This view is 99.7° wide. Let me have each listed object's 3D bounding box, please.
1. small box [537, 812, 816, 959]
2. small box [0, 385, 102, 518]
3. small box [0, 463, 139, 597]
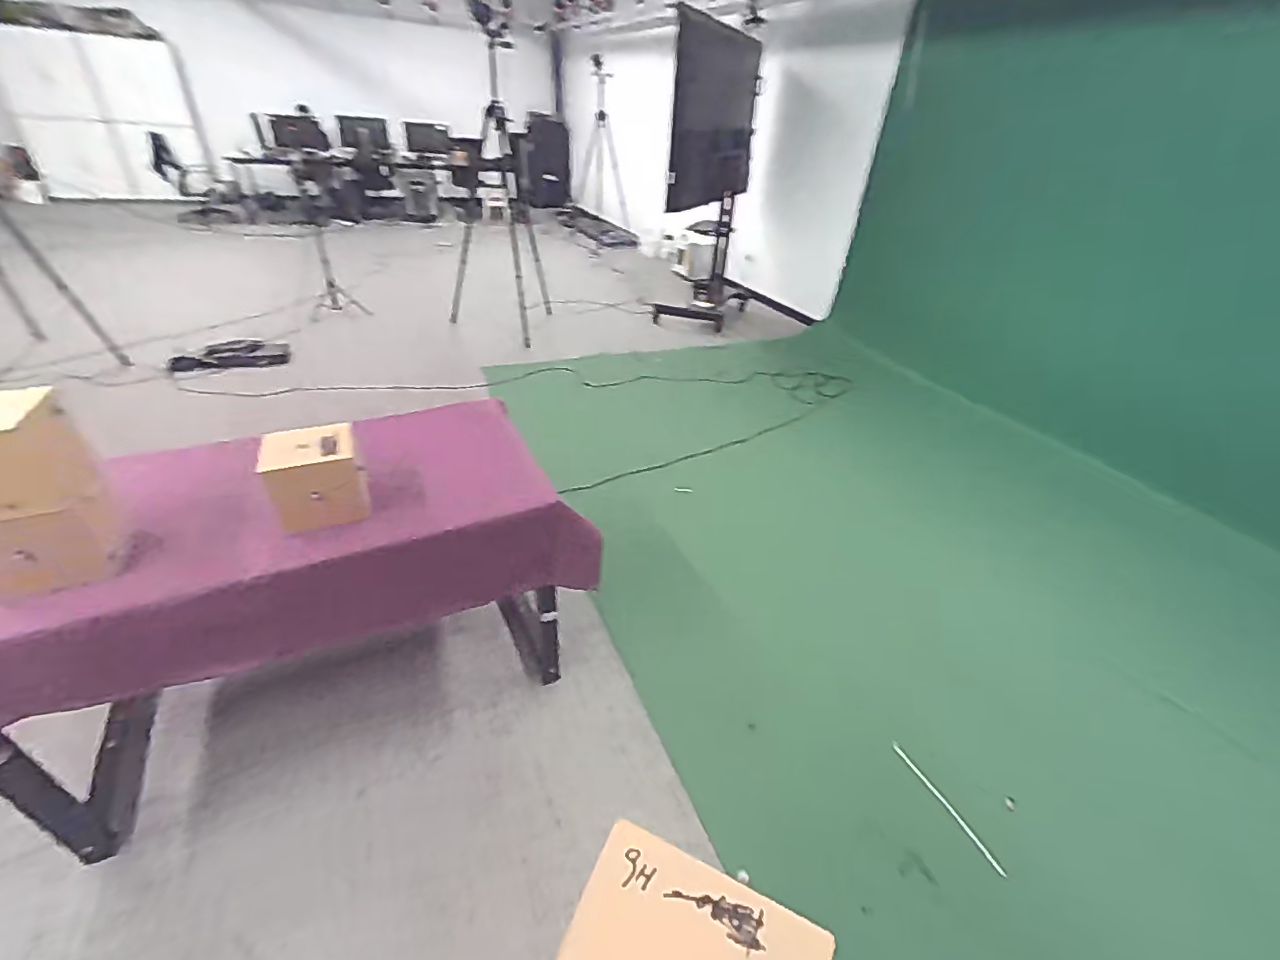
[{"bbox_3d":[0.007,0.389,0.385,0.168,0.176,0.179,20,44,16],"label":"small box"},{"bbox_3d":[-1.094,-0.045,0.937,0.168,0.176,0.179,-11,36,-23],"label":"small box"},{"bbox_3d":[-1.106,0.092,1.024,0.179,0.176,0.168,-13,37,-23],"label":"small box"}]
